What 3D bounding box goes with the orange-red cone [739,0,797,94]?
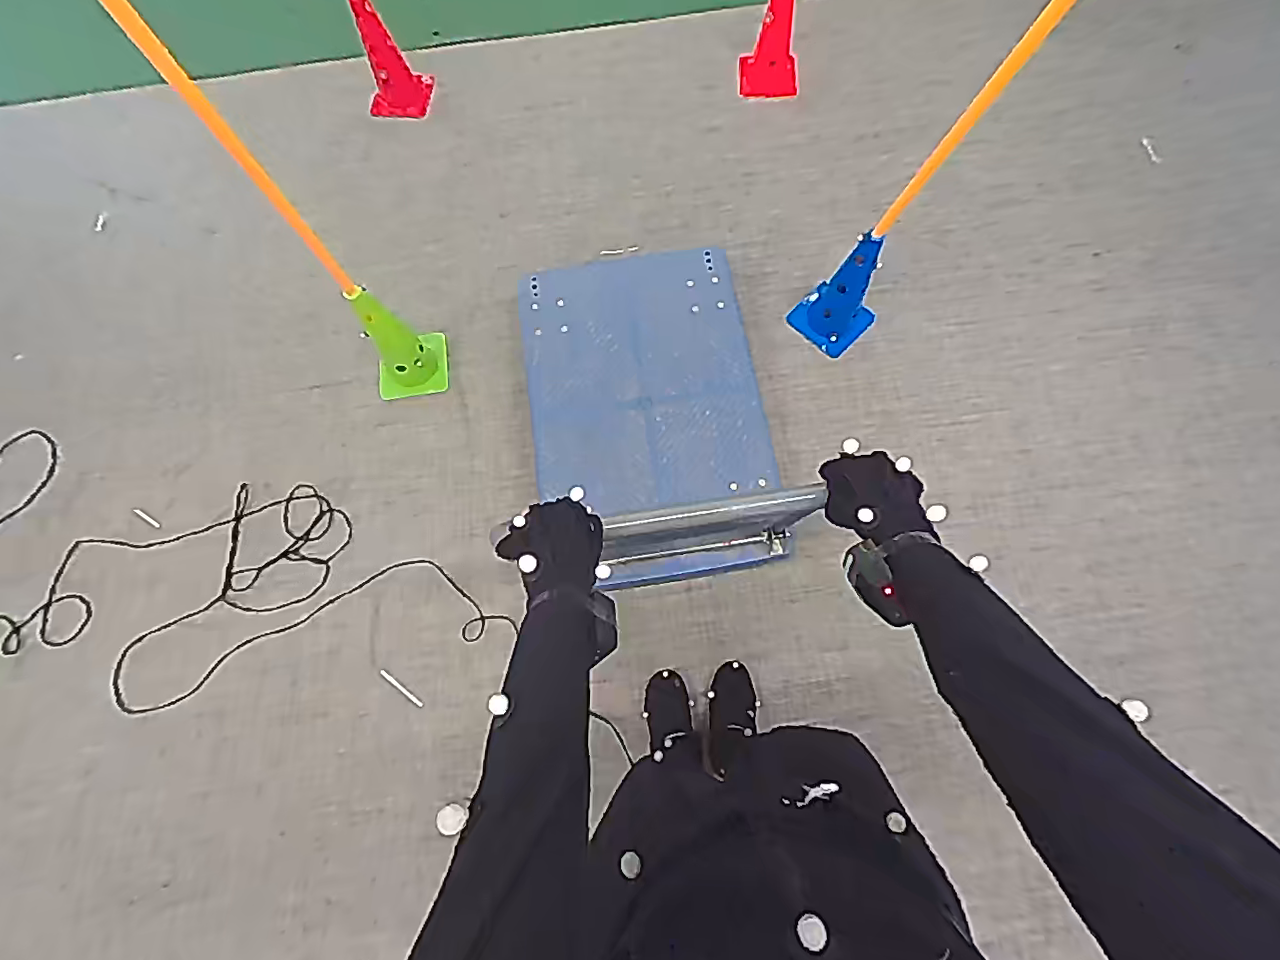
[{"bbox_3d":[0.438,-1.466,1.718,0.198,0.360,0.199,3,75,4],"label":"orange-red cone"}]
